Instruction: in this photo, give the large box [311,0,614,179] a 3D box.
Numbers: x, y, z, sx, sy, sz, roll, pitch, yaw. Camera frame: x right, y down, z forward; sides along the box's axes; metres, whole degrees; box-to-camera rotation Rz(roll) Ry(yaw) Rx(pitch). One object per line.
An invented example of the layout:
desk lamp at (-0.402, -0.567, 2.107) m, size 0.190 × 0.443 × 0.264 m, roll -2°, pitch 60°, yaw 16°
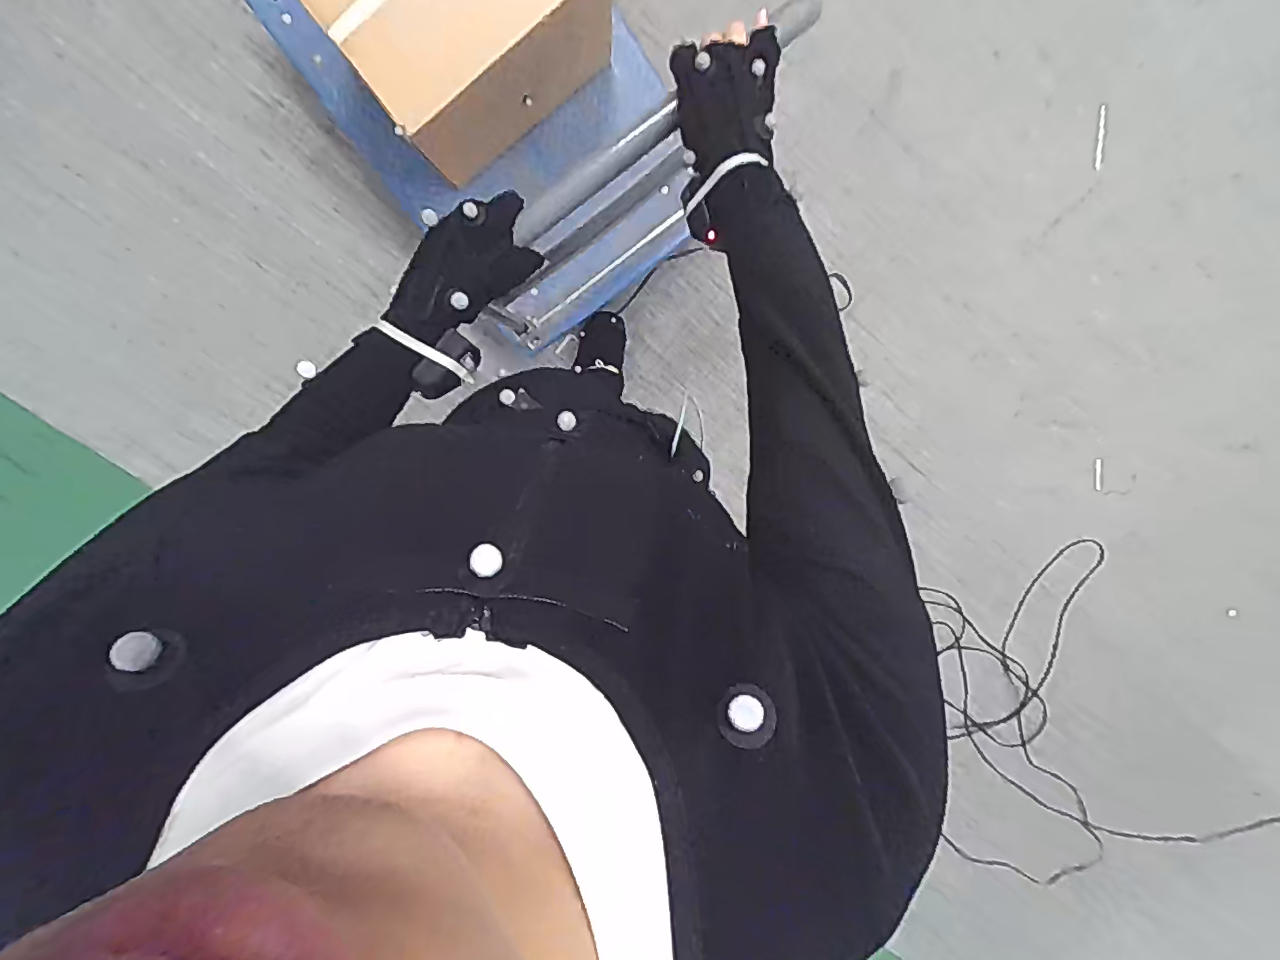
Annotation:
large box at (-0.289, -0.811, 0.920) m, size 0.408 × 0.320 × 0.320 m, roll -37°, pitch 104°, yaw 7°
